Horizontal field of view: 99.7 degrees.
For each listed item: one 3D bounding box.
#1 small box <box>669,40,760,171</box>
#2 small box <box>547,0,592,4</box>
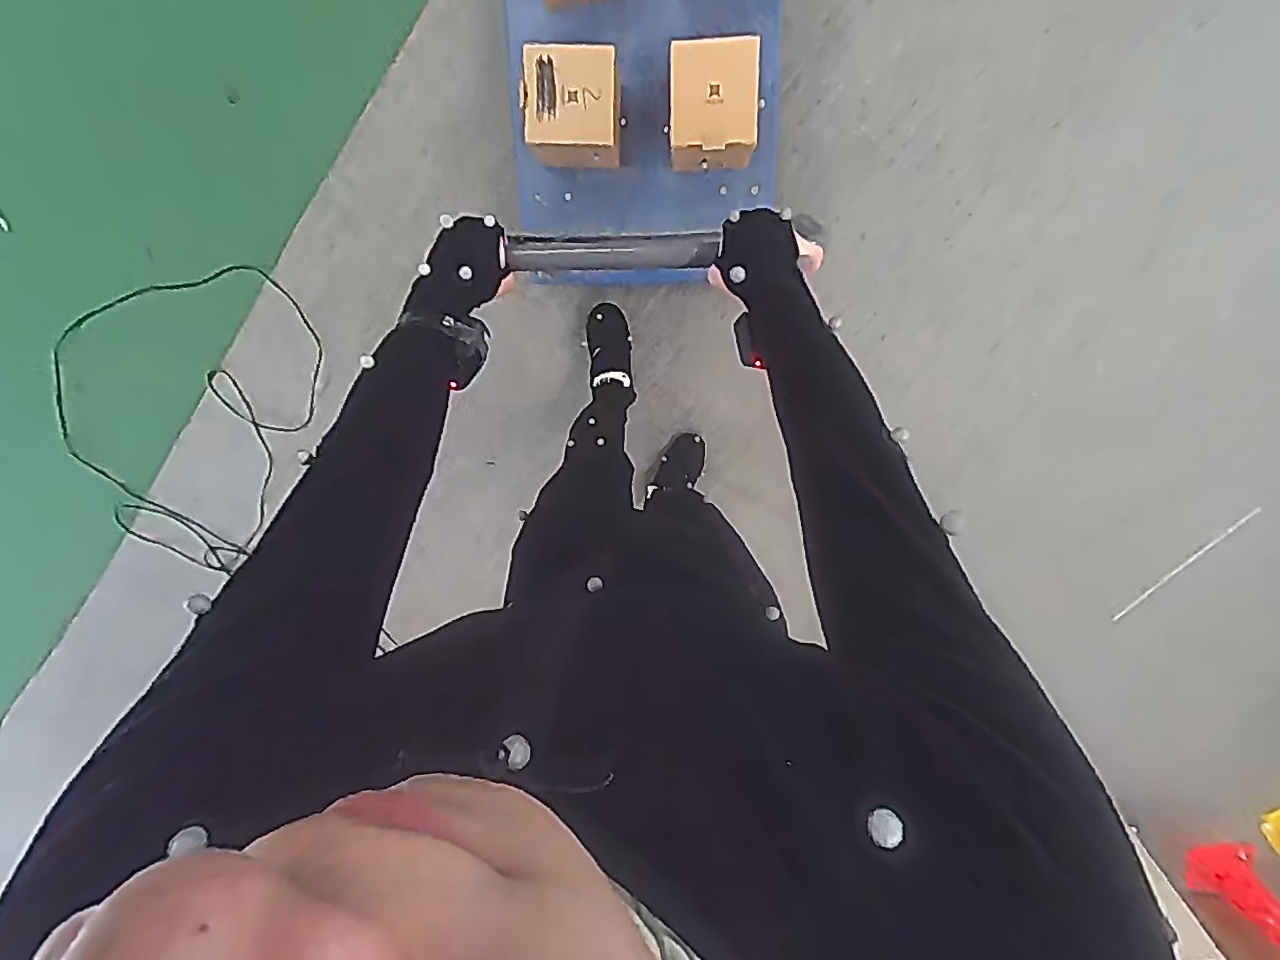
[{"bbox_3d":[0.143,-0.745,1.092,0.168,0.176,0.179,-1,107,3],"label":"small box"},{"bbox_3d":[-0.131,-1.040,1.017,0.168,0.176,0.179,-4,106,4],"label":"small box"}]
